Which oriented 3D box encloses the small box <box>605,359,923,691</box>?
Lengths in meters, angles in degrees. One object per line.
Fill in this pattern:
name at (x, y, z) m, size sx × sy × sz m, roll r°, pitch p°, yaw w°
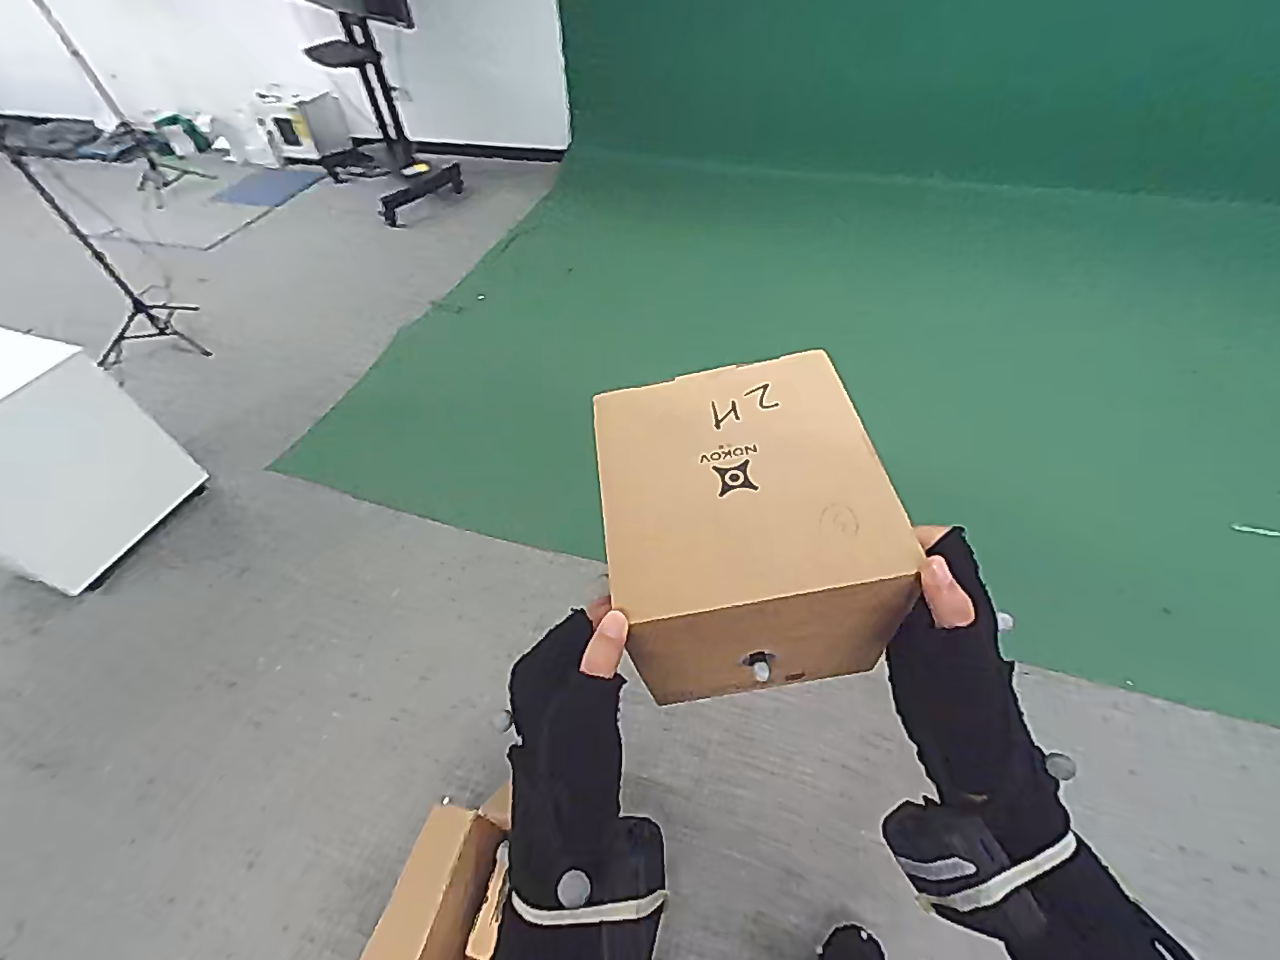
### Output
small box at (0.075, 0.044, 0.401) m, size 0.168 × 0.176 × 0.179 m, roll -11°, pitch 52°, yaw 3°
